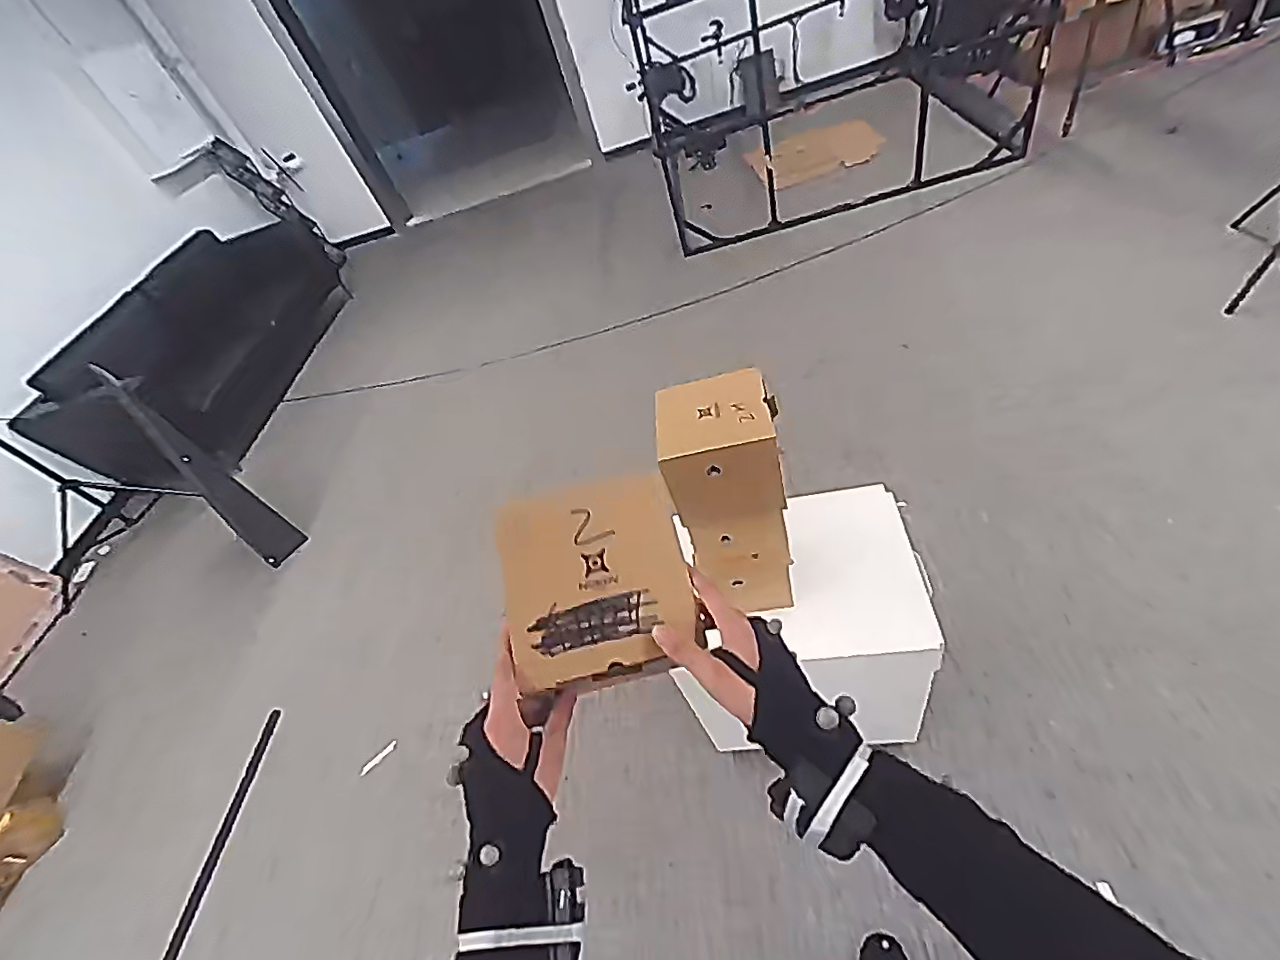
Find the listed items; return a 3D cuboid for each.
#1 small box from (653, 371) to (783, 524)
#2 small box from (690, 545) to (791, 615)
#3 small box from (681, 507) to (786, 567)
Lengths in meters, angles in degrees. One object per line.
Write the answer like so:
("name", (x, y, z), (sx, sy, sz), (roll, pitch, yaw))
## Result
("small box", (0.127, -0.046, 0.881), (0.179, 0.176, 0.168), (-11, 47, 12))
("small box", (0.205, 0.165, 1.120), (0.179, 0.176, 0.168), (-11, 47, 11))
("small box", (0.172, 0.048, 1.011), (0.168, 0.176, 0.179), (-11, 46, 12))
